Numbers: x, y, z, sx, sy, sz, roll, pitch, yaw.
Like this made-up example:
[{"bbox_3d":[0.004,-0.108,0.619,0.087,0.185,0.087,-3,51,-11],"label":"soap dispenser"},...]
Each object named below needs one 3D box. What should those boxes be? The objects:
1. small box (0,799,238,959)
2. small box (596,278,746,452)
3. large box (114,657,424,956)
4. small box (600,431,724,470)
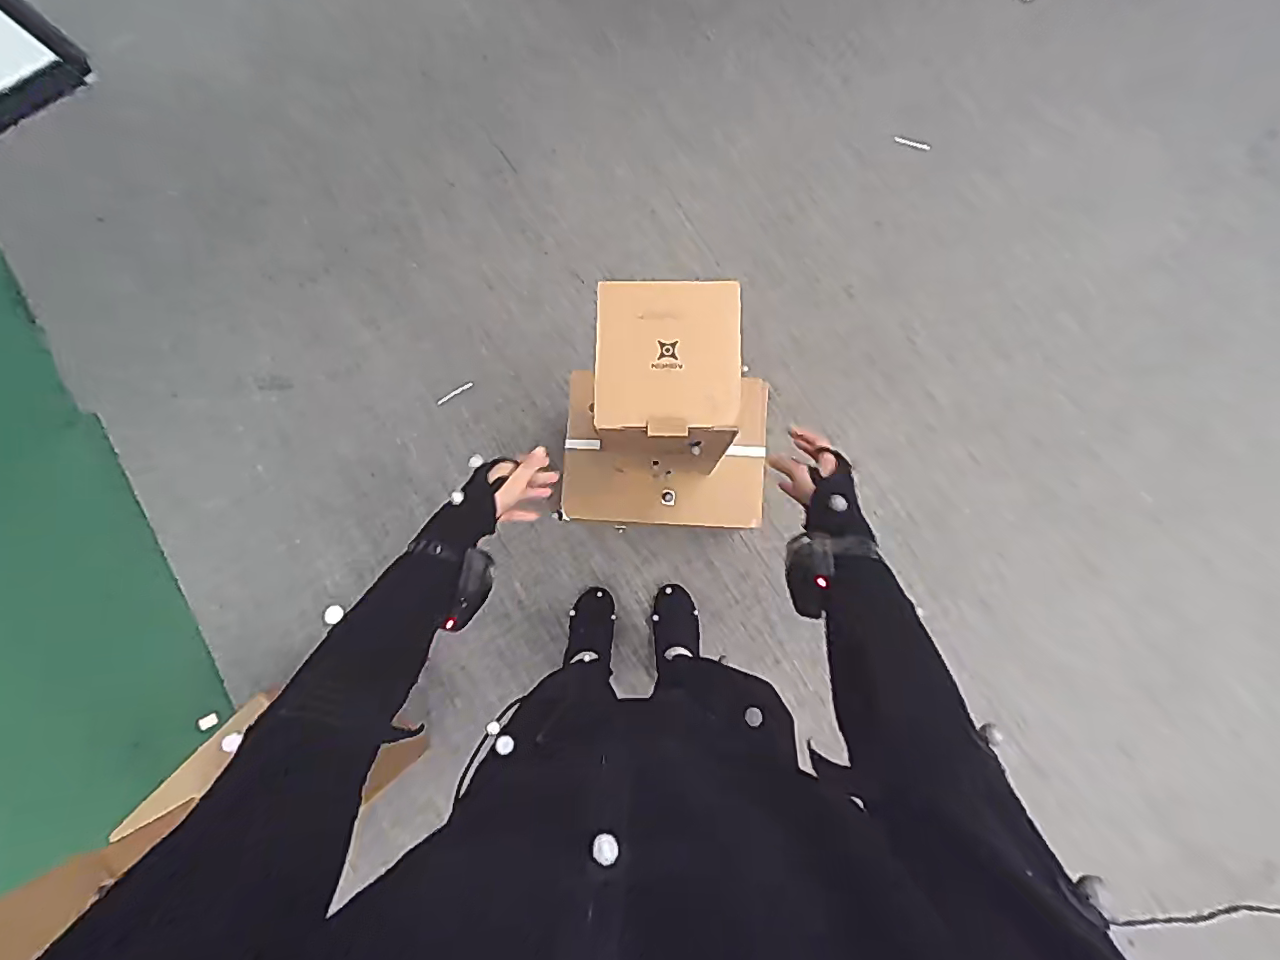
[{"bbox_3d":[-0.751,0.617,0.787,0.179,0.176,0.168,-37,83,-3],"label":"small box"},{"bbox_3d":[0.039,-0.134,0.685,0.168,0.176,0.179,1,82,2],"label":"small box"},{"bbox_3d":[-0.775,0.670,1.192,0.408,0.320,0.320,-45,83,-2],"label":"large box"},{"bbox_3d":[0.039,-0.109,0.846,0.179,0.176,0.168,3,83,3],"label":"small box"}]
